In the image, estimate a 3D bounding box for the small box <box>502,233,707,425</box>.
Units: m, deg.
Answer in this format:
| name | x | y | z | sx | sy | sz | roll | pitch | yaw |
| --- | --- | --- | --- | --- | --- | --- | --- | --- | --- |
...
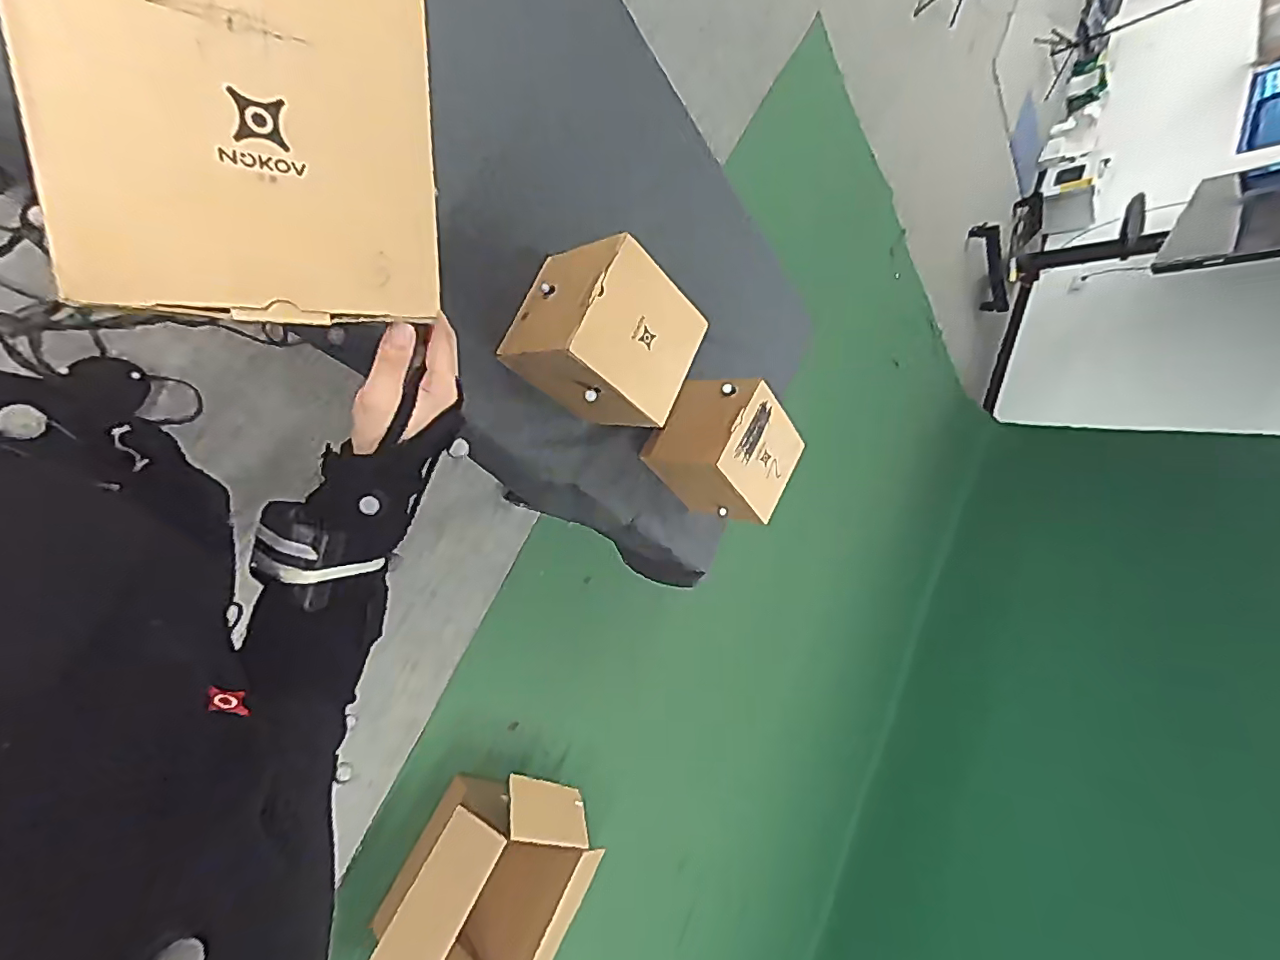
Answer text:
| name | x | y | z | sx | sy | sz | roll | pitch | yaw |
| --- | --- | --- | --- | --- | --- | --- | --- | --- | --- |
| small box | -0.047 | -0.191 | 0.720 | 0.179 | 0.176 | 0.168 | 35 | 74 | -40 |
